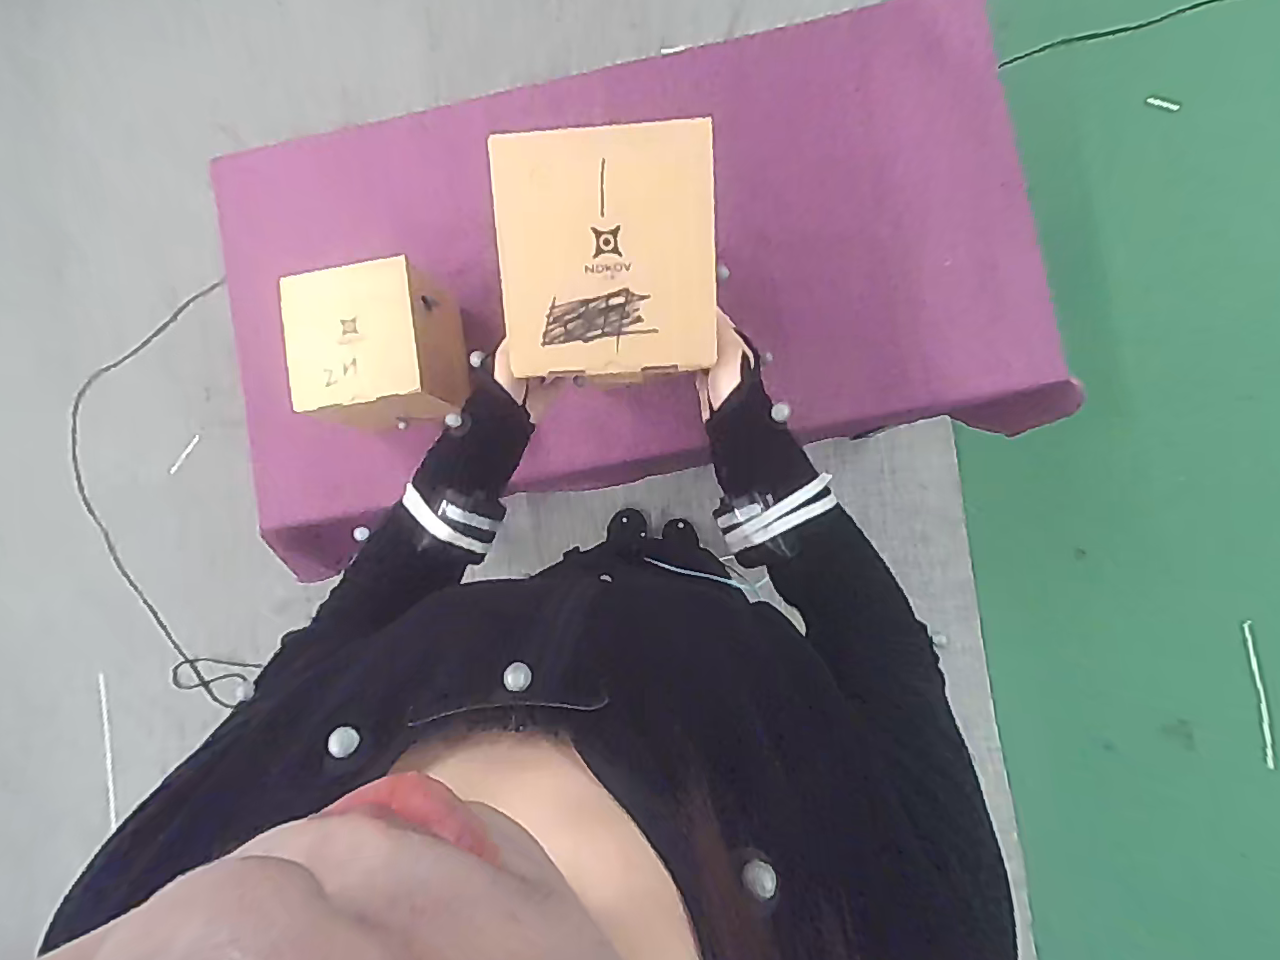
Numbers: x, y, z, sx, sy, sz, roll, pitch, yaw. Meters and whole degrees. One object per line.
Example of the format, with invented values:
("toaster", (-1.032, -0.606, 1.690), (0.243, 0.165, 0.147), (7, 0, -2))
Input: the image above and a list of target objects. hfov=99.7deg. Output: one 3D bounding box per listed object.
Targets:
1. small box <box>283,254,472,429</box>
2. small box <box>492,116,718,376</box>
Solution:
("small box", (-0.347, -0.178, 0.742), (0.168, 0.176, 0.179), (-9, 87, 4))
("small box", (-0.019, -0.187, 0.480), (0.168, 0.176, 0.179), (-2, 102, 3))
